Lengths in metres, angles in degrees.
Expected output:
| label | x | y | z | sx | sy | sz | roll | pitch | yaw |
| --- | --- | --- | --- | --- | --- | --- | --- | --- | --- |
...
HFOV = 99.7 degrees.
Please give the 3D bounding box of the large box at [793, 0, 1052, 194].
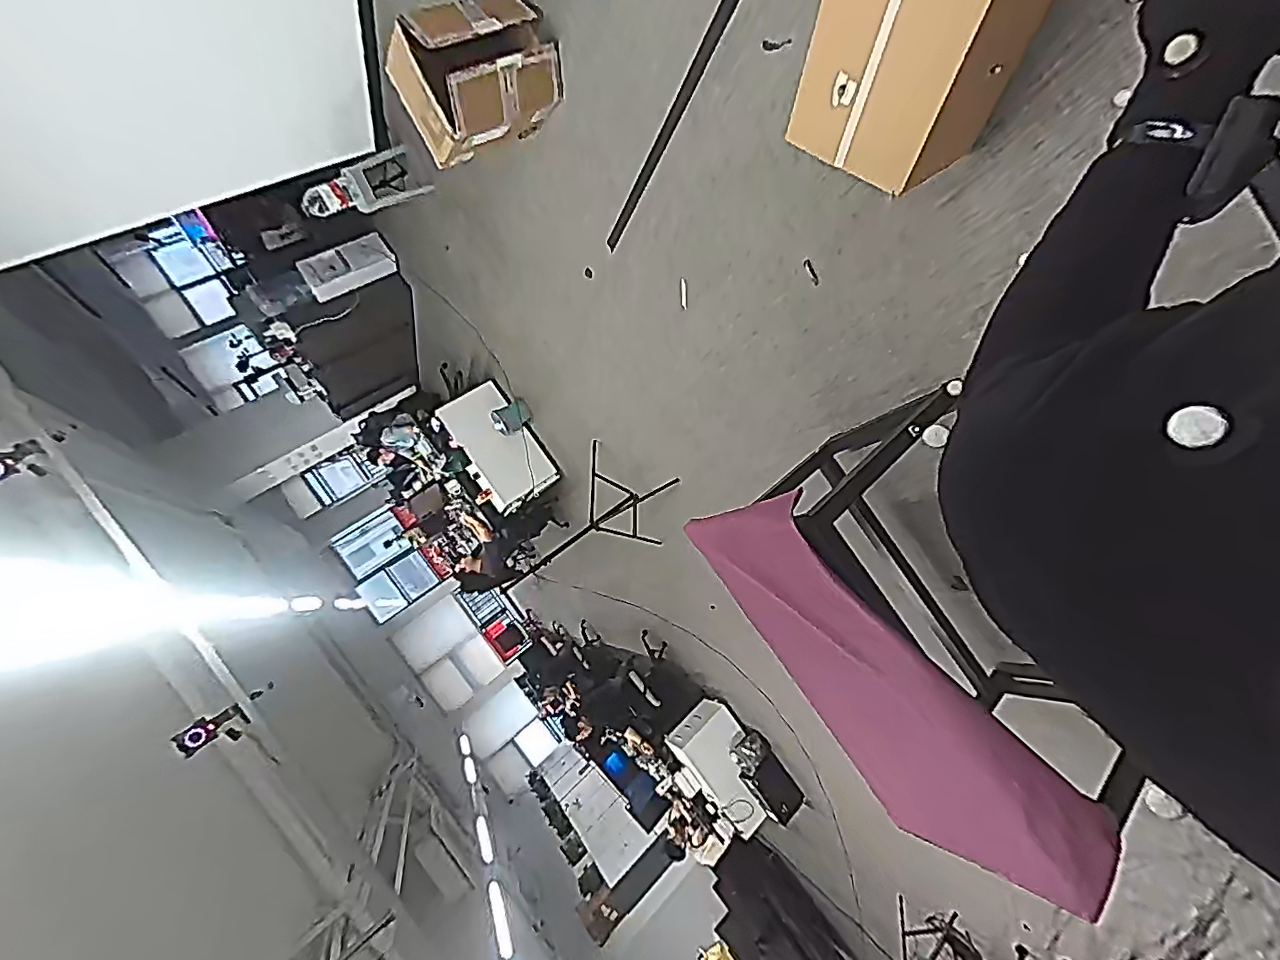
| label | x | y | z | sx | sy | sz | roll | pitch | yaw |
| --- | --- | --- | --- | --- | --- | --- | --- | --- | --- |
| large box | 0.565 | -0.879 | 1.070 | 0.320 | 0.320 | 0.408 | 44 | 156 | 23 |
